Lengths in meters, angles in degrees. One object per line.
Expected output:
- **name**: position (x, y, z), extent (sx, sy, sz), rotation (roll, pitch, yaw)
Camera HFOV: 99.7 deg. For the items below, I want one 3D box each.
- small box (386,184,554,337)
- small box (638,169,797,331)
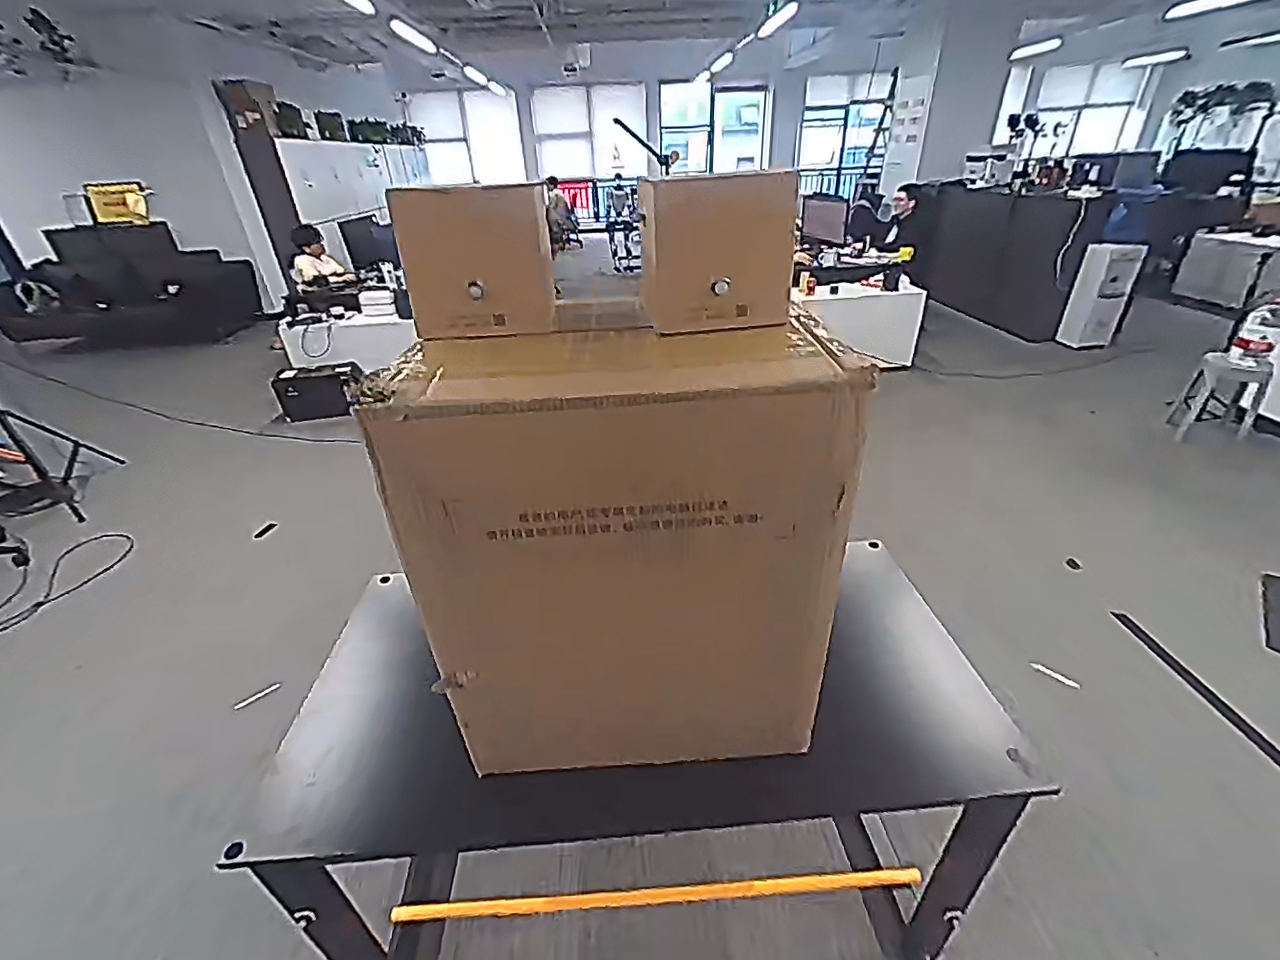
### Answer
- **small box**: position (-0.207, -0.292, 0.714), extent (0.168, 0.176, 0.179), rotation (-4, 30, -4)
- **small box**: position (0.087, -0.297, 0.695), extent (0.168, 0.176, 0.179), rotation (-6, 30, -3)
